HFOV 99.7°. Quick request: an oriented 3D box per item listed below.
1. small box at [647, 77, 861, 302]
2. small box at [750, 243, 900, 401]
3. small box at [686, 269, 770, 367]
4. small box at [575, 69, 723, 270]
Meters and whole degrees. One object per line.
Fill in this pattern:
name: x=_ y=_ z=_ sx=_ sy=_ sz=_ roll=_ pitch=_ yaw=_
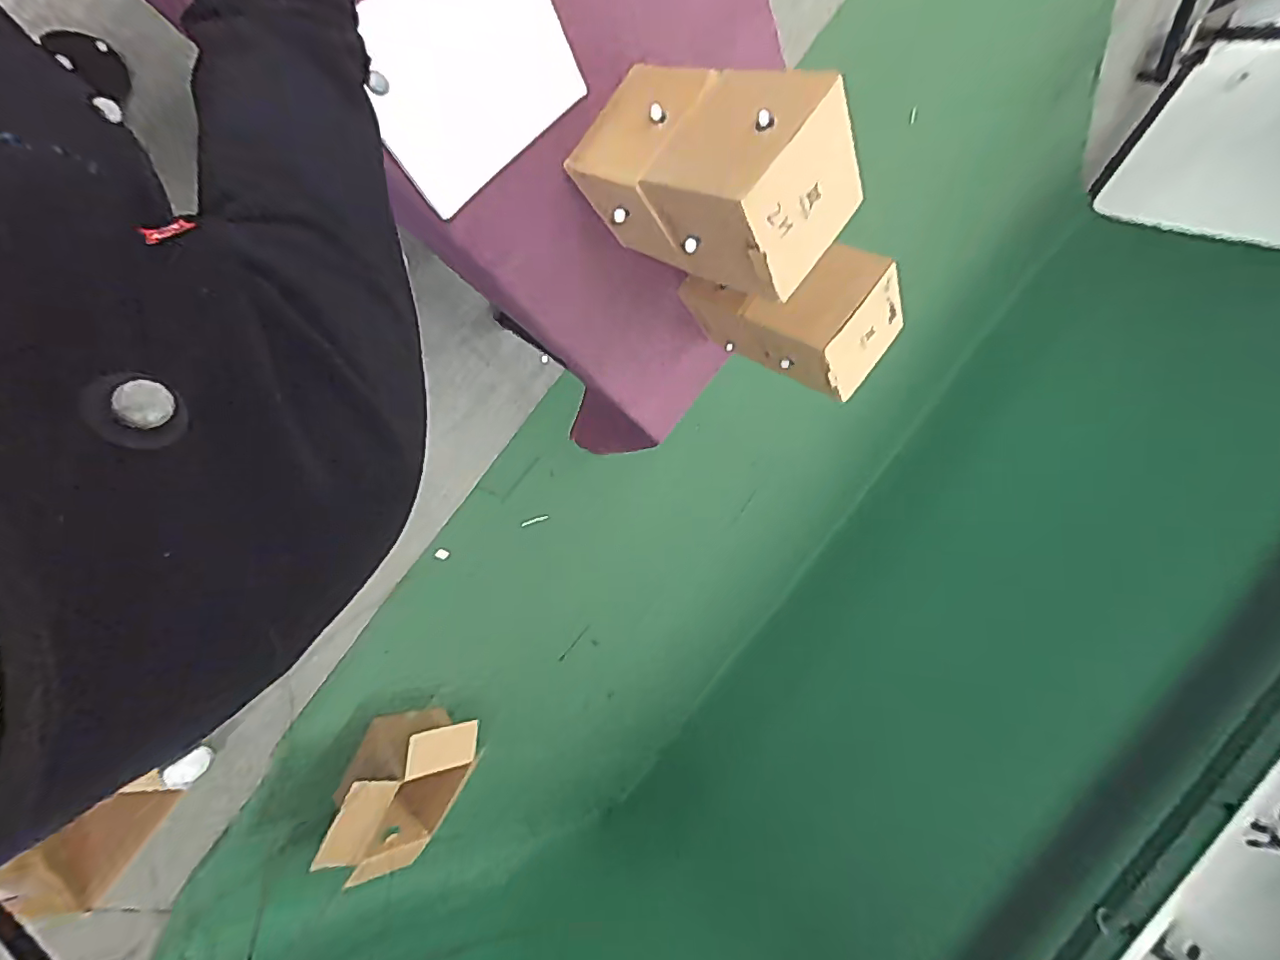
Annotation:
small box: x=0.141 y=-0.362 z=0.672 sx=0.179 sy=0.176 sz=0.168 roll=-51 pitch=143 yaw=-1
small box: x=0.309 y=-0.273 z=0.919 sx=0.179 sy=0.176 sz=0.168 roll=-51 pitch=144 yaw=0
small box: x=0.209 y=-0.352 z=1.022 sx=0.179 sy=0.176 sz=0.168 roll=-52 pitch=143 yaw=-1
small box: x=0.032 y=-0.439 z=0.769 sx=0.179 sy=0.176 sz=0.168 roll=-54 pitch=143 yaw=1
